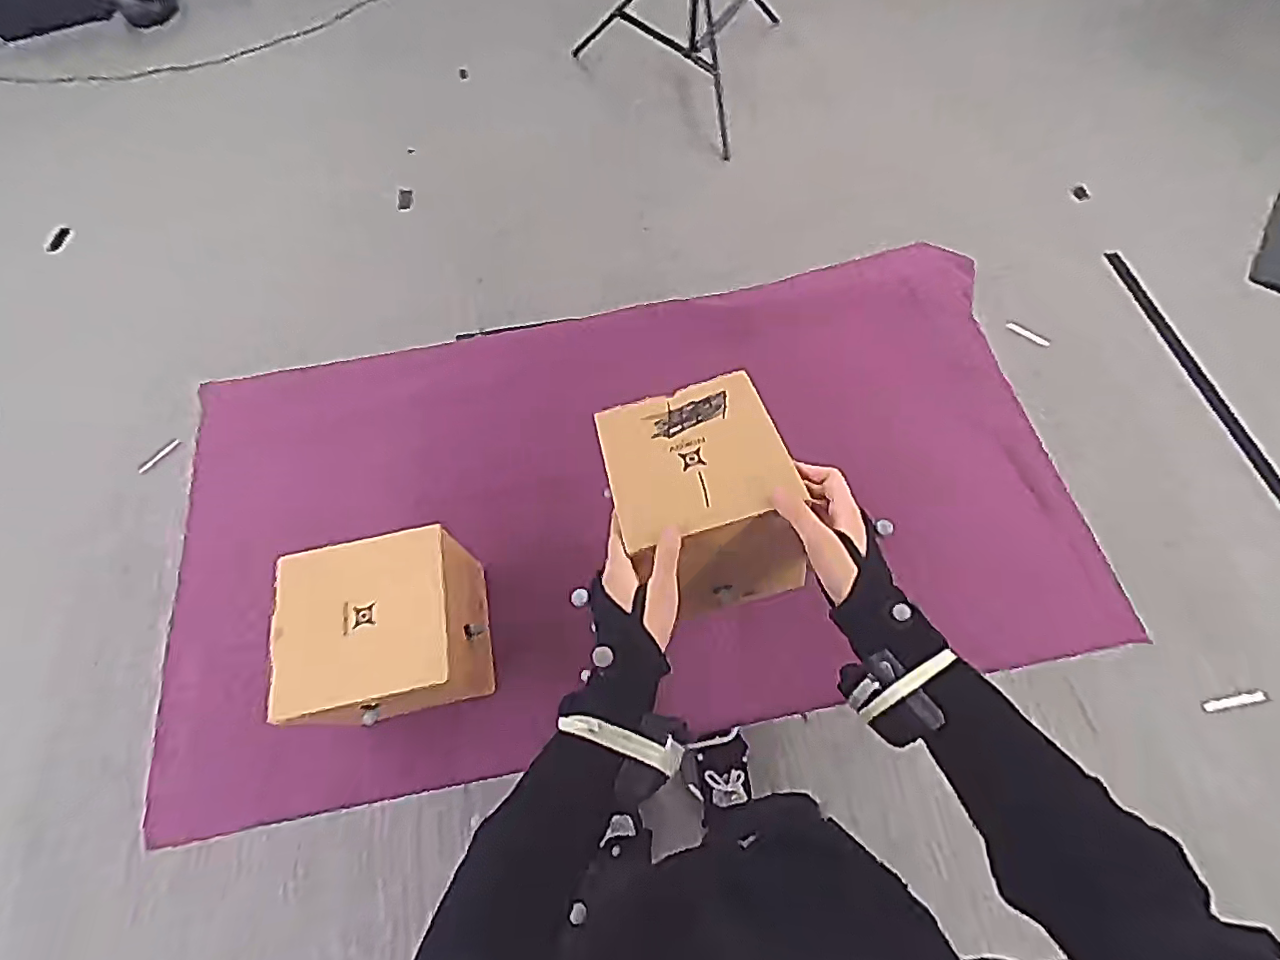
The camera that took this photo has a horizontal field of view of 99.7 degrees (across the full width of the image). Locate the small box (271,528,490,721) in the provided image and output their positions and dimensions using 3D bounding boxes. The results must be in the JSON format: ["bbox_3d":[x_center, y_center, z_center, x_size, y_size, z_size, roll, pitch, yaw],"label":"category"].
[{"bbox_3d":[-0.280,0.171,0.622,0.179,0.176,0.168,-12,66,-3],"label":"small box"}]

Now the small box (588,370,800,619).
[{"bbox_3d":[0.054,0.019,0.568,0.168,0.176,0.179,-16,53,1],"label":"small box"}]
